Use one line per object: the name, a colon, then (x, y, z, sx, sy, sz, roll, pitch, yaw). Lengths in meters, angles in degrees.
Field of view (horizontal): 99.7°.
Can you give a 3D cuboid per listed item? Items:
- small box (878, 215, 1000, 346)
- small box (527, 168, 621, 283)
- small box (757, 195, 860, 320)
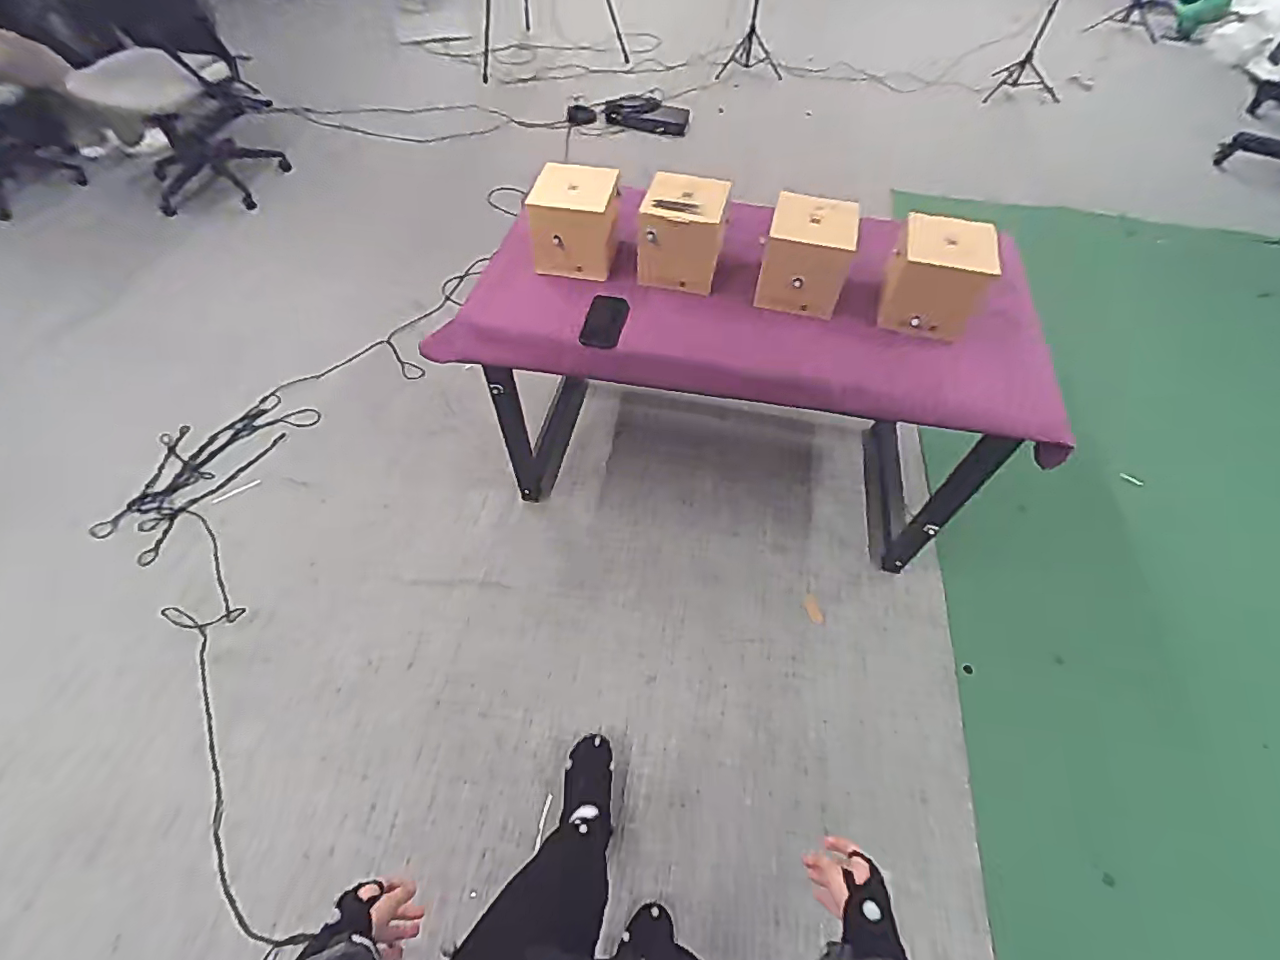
small box: (0.603, -0.408, 1.109, 0.168, 0.176, 0.179, 14, 56, 10)
small box: (-0.137, -0.562, 1.202, 0.168, 0.176, 0.179, 8, 55, 5)
small box: (0.351, -0.466, 1.143, 0.168, 0.176, 0.179, 14, 56, 8)
